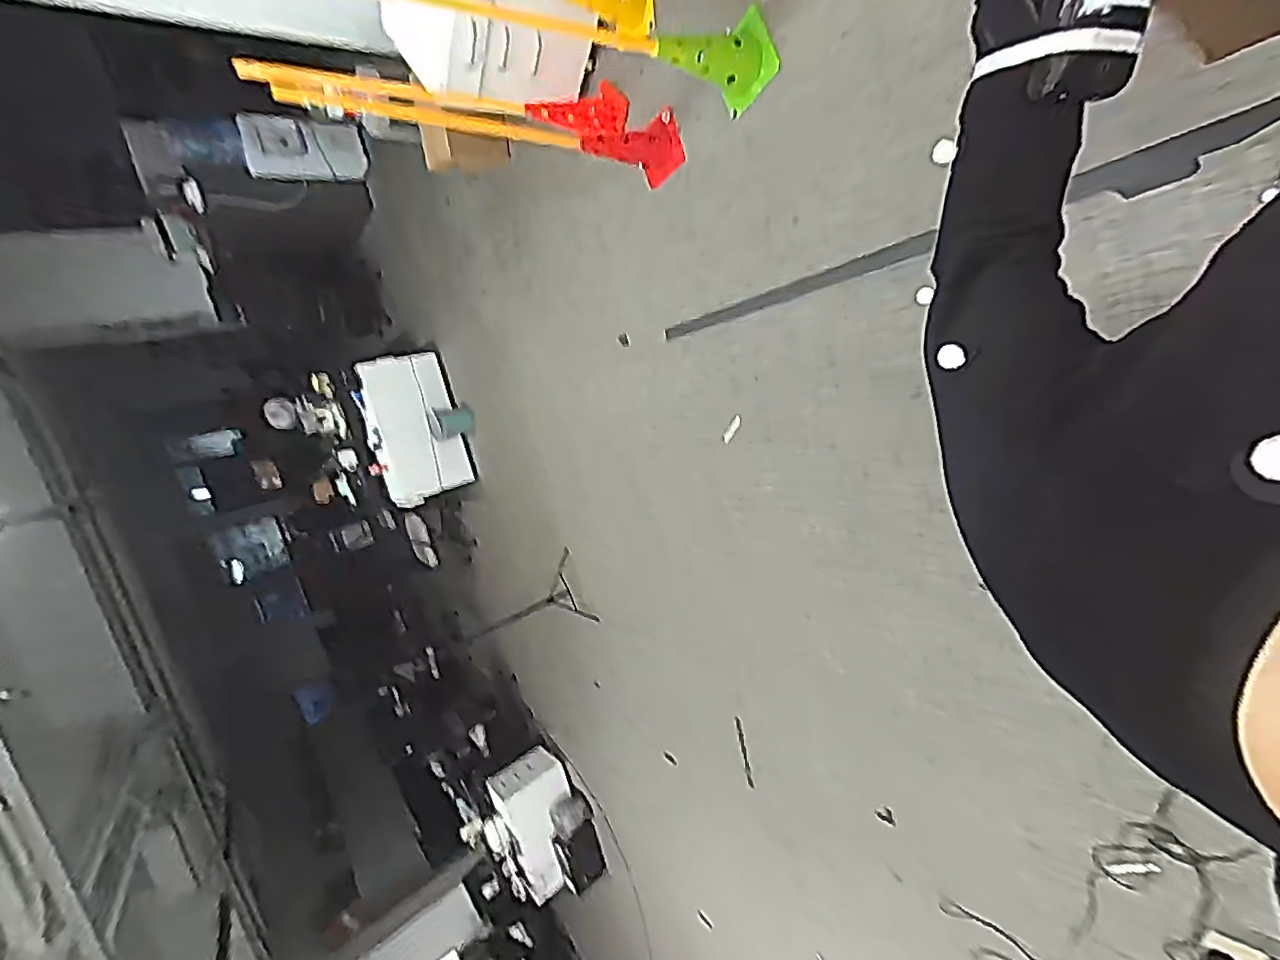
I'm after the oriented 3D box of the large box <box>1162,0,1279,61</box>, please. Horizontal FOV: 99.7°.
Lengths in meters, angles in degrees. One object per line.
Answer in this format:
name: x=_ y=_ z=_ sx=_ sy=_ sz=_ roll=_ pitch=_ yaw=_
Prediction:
large box: x=0.498 y=-0.498 z=0.238 sx=0.408 sy=0.320 sz=0.320 roll=0 pitch=104 yaw=53
